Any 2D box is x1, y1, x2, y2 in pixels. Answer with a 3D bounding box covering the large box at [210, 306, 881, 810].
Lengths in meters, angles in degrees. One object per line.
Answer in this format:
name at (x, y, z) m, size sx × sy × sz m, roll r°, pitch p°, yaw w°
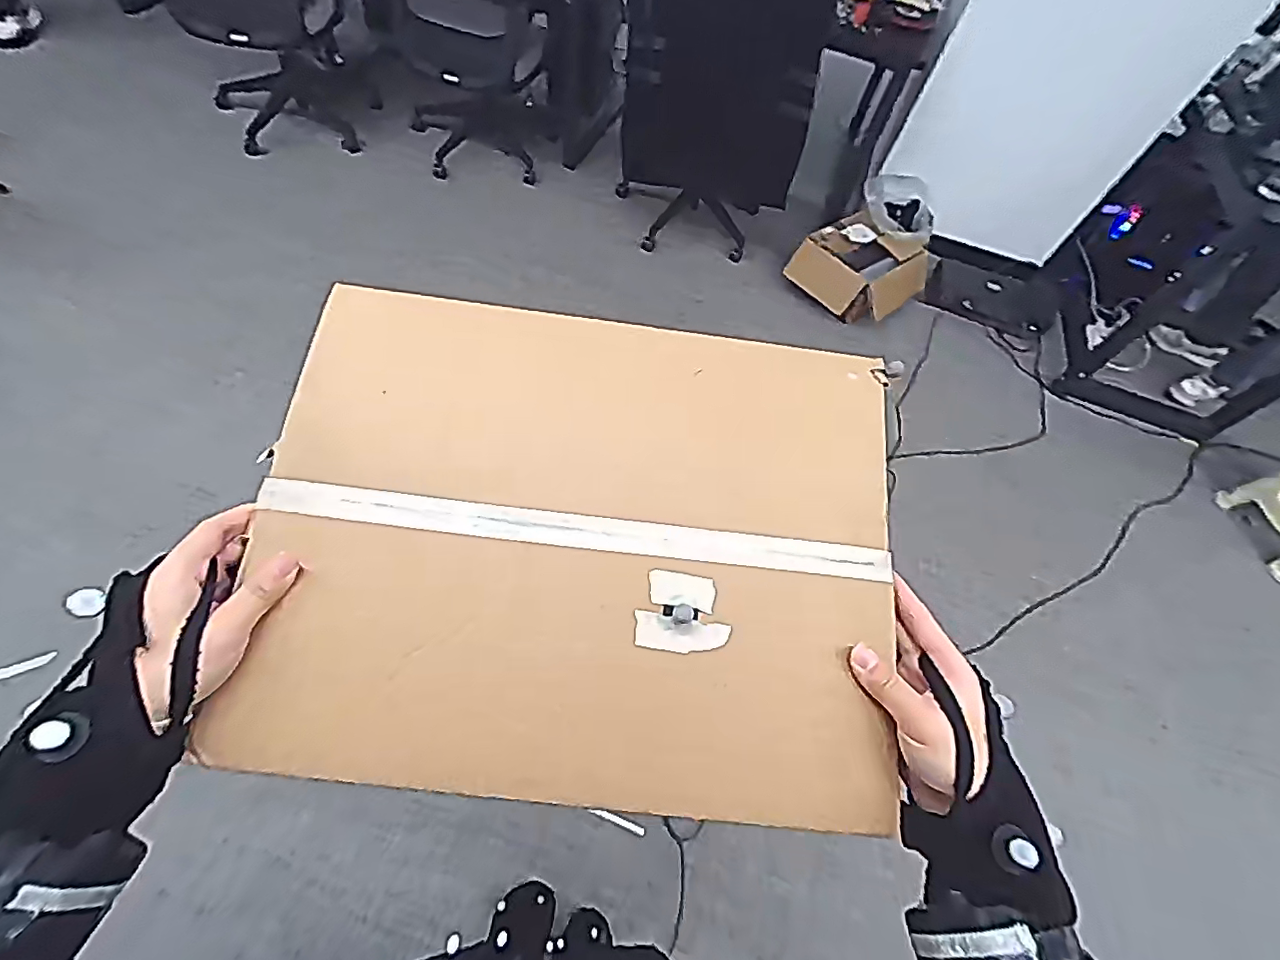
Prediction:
large box at (-0.050, 0.079, 0.503) m, size 0.408 × 0.320 × 0.320 m, roll 7°, pitch 73°, yaw -3°
